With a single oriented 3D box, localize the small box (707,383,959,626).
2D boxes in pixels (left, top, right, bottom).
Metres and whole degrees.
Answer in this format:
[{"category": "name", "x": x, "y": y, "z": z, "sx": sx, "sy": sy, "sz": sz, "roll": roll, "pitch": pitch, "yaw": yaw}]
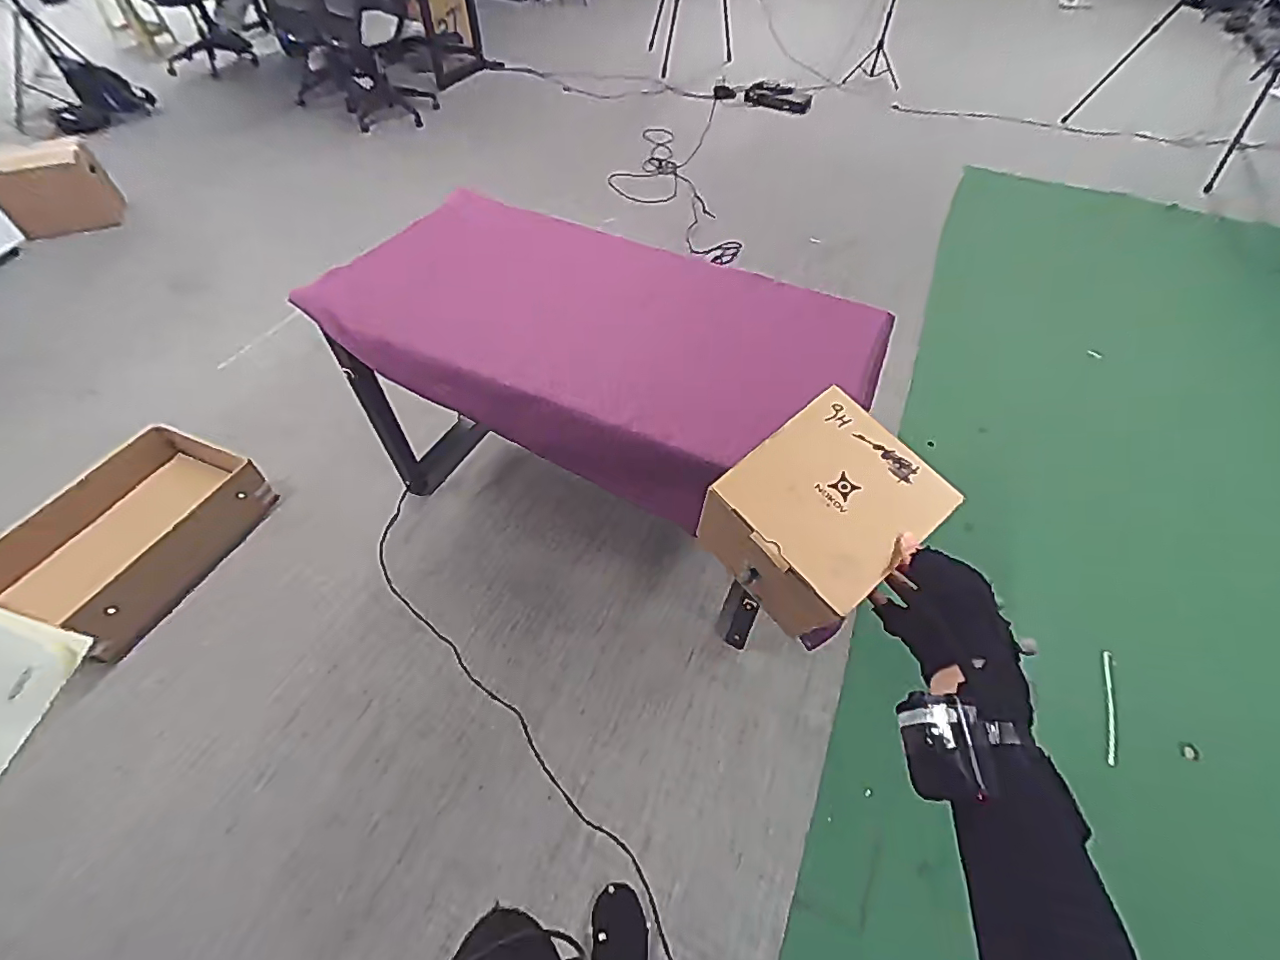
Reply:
[{"category": "small box", "x": 0.186, "y": 0.037, "z": 0.584, "sx": 0.179, "sy": 0.176, "sz": 0.168, "roll": -39, "pitch": 73, "yaw": -12}]
